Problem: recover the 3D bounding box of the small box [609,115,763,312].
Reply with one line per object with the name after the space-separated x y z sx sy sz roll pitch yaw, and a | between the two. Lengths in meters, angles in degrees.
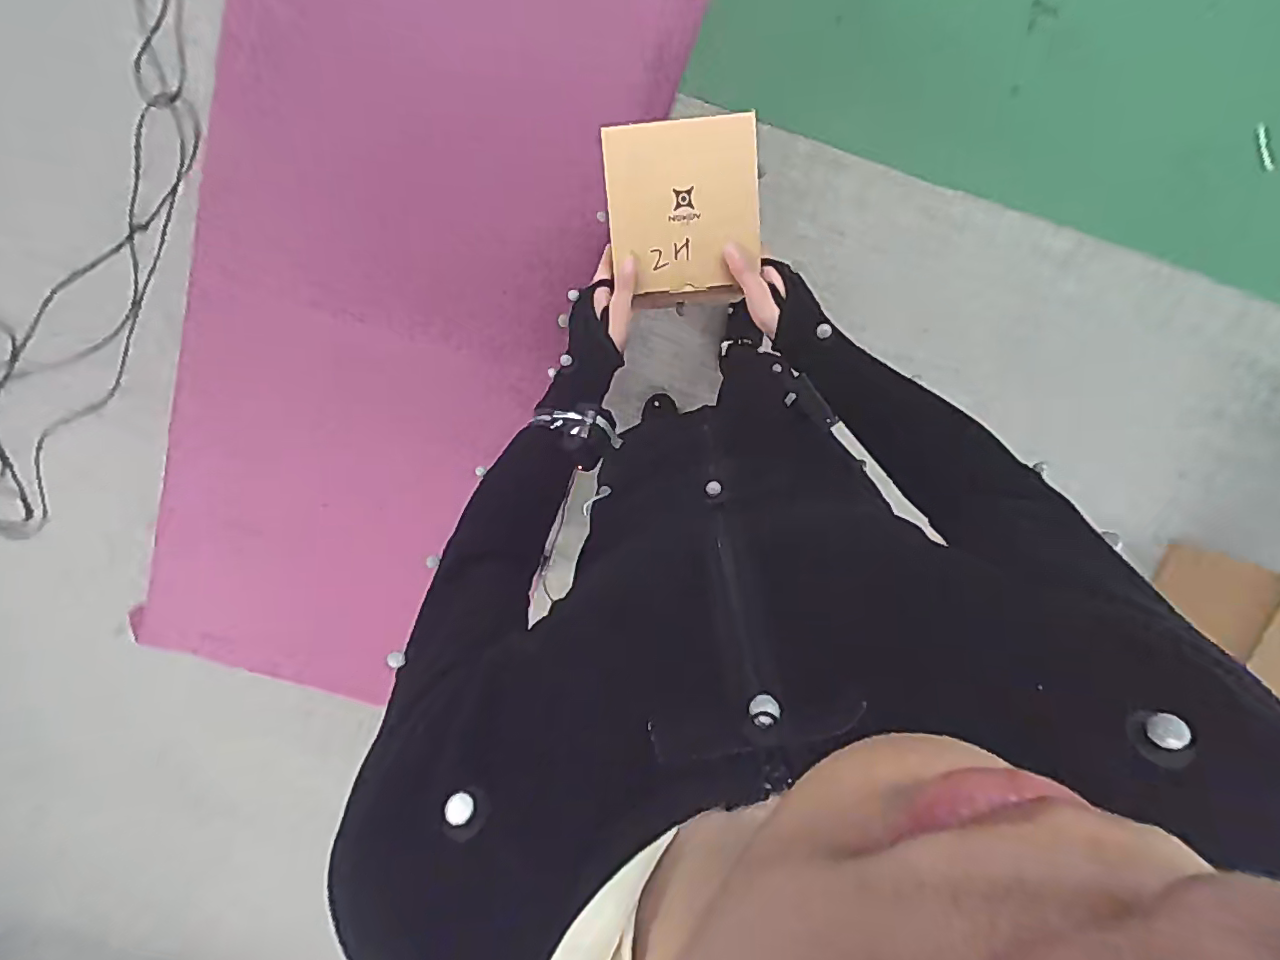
0.053 -0.311 0.664 0.168 0.176 0.179 -3 102 2 | small box
